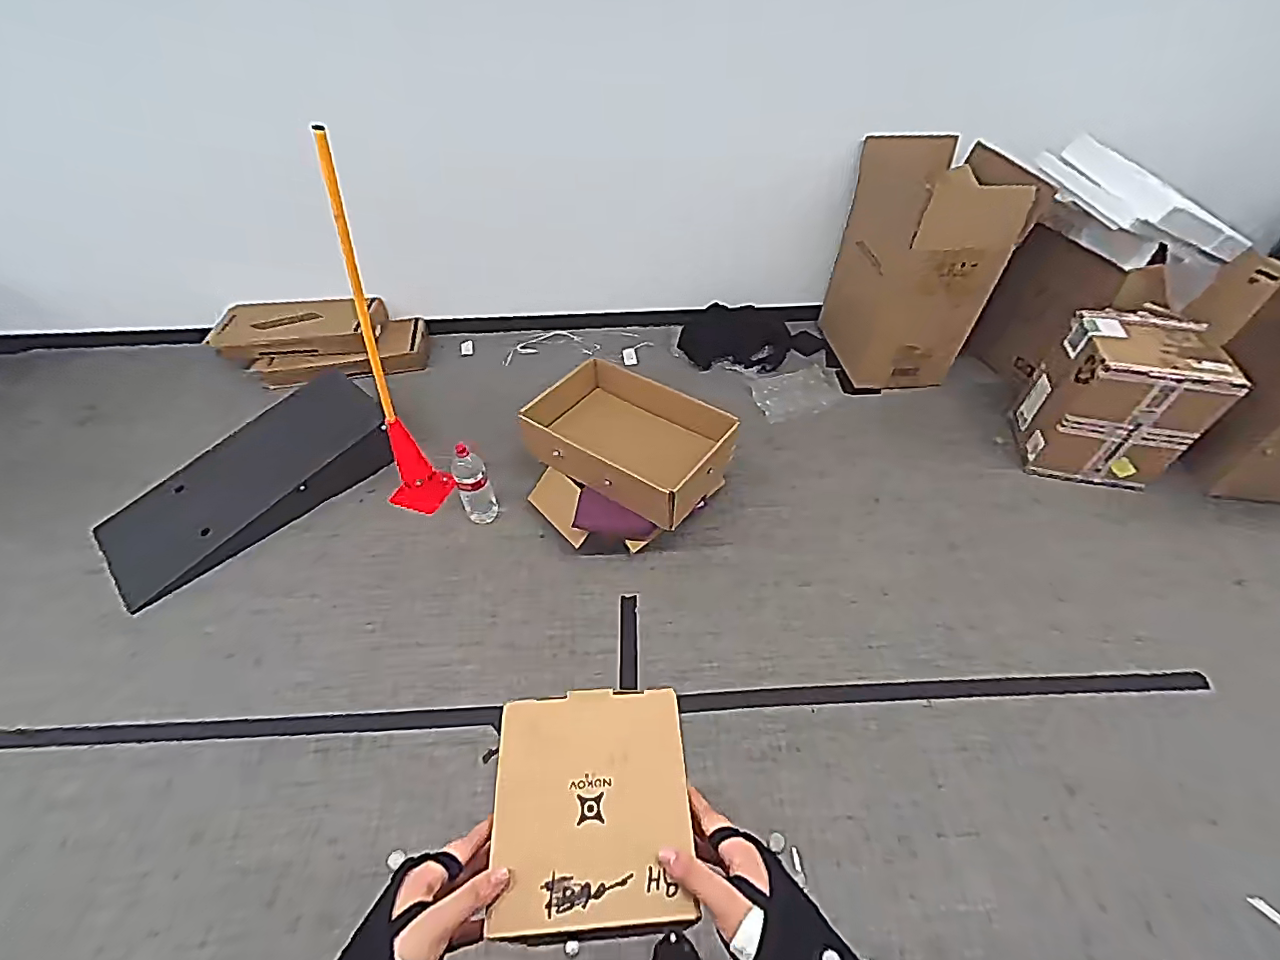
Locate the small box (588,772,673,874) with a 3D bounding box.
[{"bbox_3d":[-0.020,0.775,1.219,0.179,0.176,0.168,-3,46,0],"label":"small box"}]
